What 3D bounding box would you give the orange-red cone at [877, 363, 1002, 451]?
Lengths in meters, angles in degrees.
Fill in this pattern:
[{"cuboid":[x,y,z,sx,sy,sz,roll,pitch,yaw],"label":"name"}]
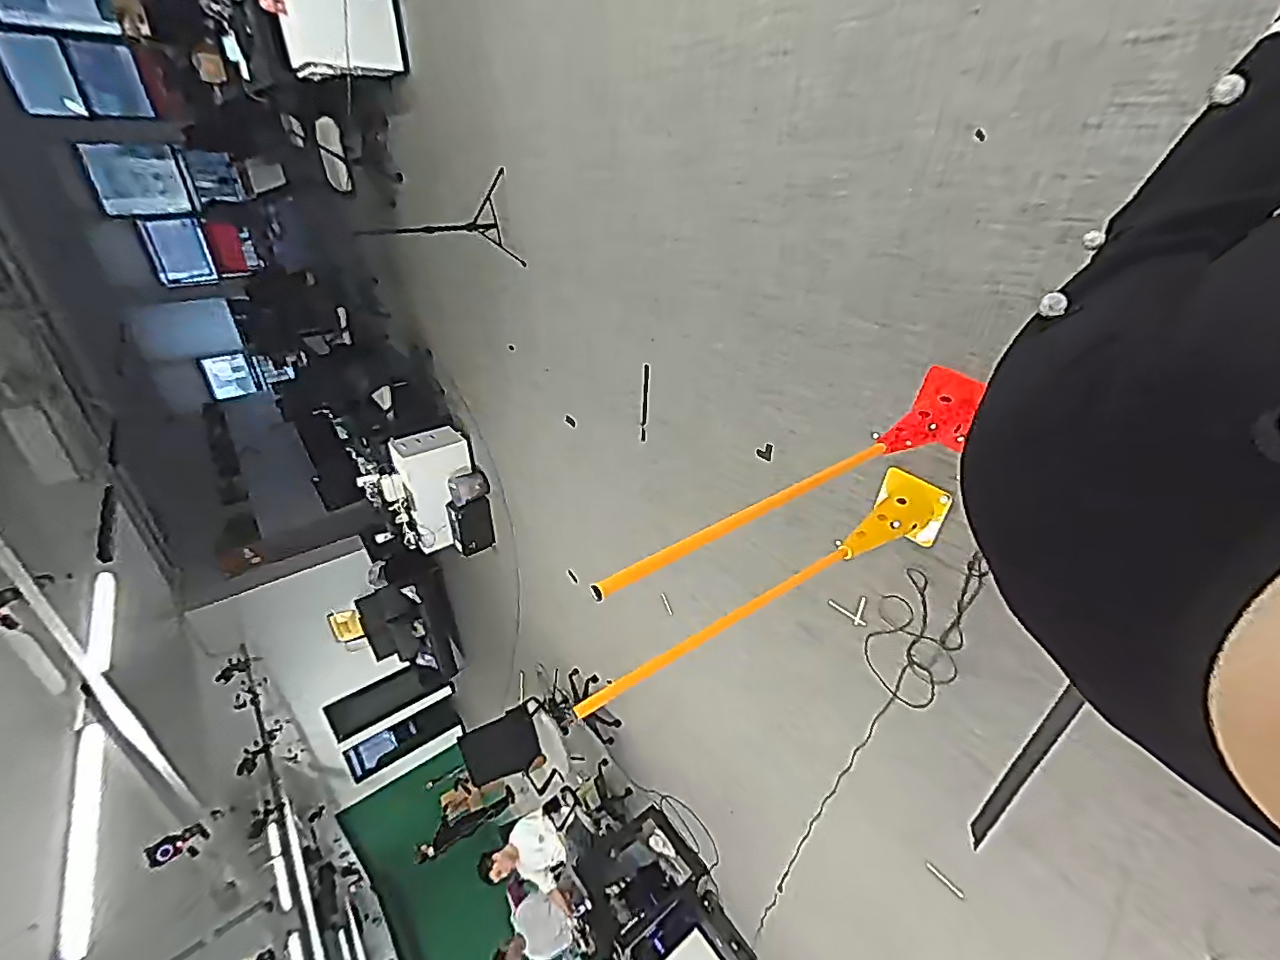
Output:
[{"cuboid":[0.703,-0.143,1.357,0.198,0.360,0.199,40,137,35],"label":"orange-red cone"}]
